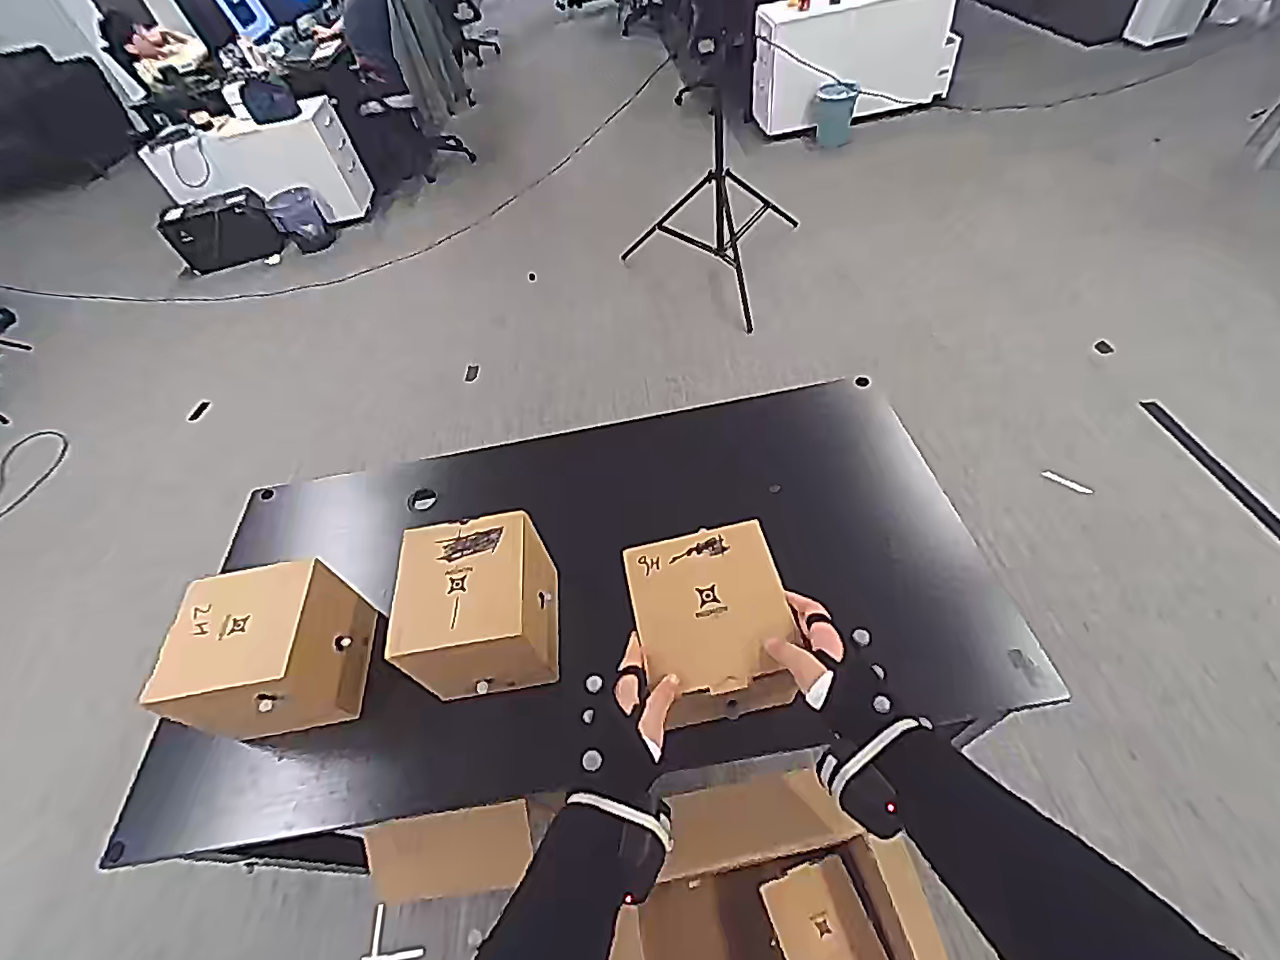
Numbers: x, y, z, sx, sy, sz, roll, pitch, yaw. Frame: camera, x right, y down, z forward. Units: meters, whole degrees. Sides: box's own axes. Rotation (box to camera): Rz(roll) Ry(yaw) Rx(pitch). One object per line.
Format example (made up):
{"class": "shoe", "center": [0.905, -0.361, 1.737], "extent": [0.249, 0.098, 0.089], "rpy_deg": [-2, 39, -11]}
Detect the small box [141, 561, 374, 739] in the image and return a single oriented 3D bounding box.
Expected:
{"class": "small box", "center": [-0.492, 0.234, 0.734], "extent": [0.179, 0.176, 0.168], "rpy_deg": [-11, 50, 1]}

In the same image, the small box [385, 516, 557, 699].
{"class": "small box", "center": [-0.214, 0.176, 0.735], "extent": [0.168, 0.176, 0.179], "rpy_deg": [-10, 51, 2]}

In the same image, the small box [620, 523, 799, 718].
{"class": "small box", "center": [0.080, 0.180, 0.661], "extent": [0.168, 0.176, 0.179], "rpy_deg": [-13, 57, 0]}
